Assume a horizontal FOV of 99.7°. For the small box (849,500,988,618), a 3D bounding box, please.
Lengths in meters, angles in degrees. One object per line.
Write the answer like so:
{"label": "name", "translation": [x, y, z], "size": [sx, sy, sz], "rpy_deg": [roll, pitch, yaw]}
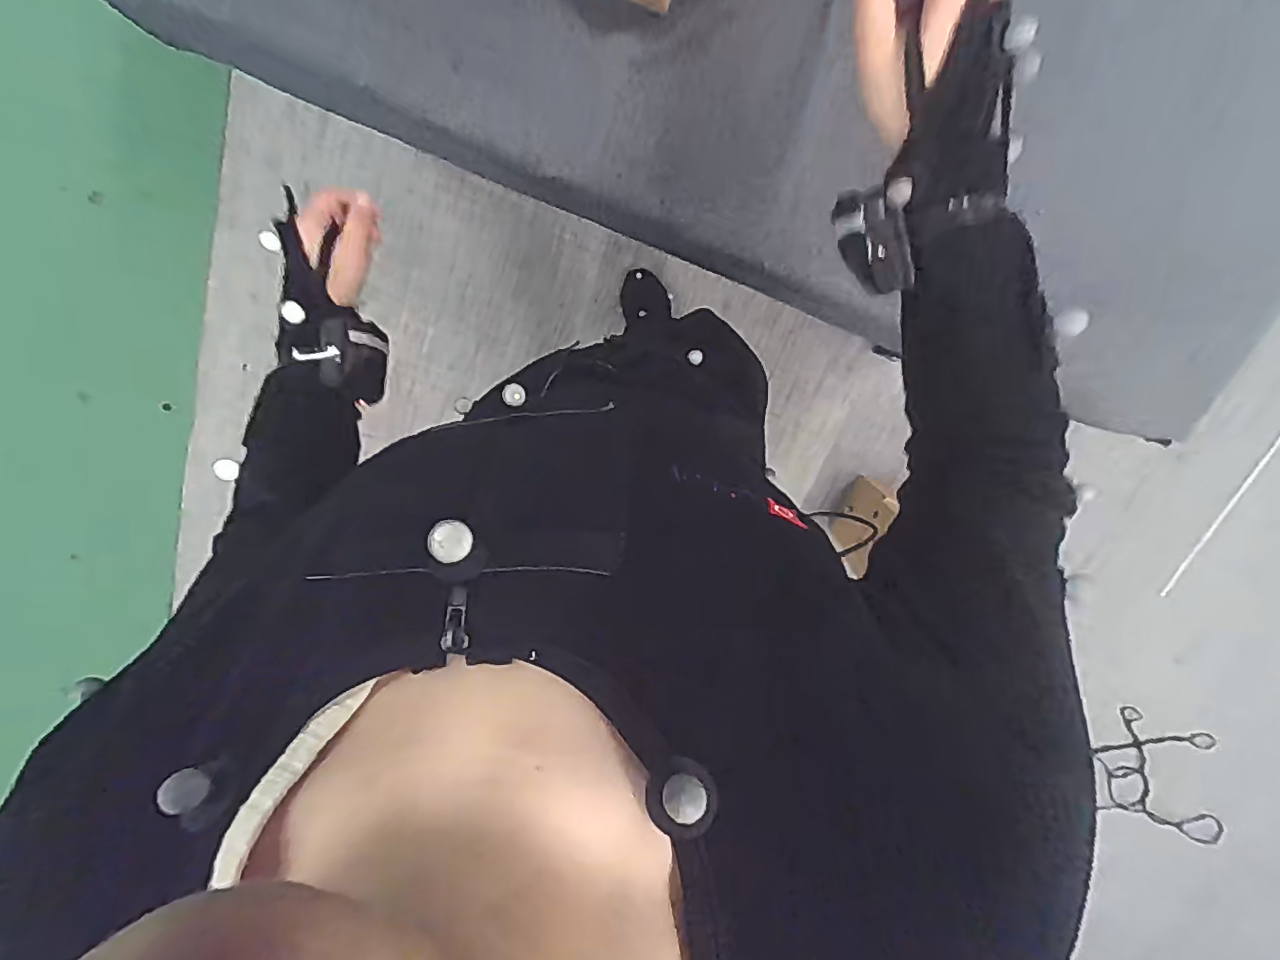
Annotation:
{"label": "small box", "translation": [0.577, 0.159, 1.152], "size": [0.179, 0.176, 0.168], "rpy_deg": [20, 108, -4]}

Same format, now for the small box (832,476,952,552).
{"label": "small box", "translation": [0.598, 0.109, 1.308], "size": [0.179, 0.176, 0.168], "rpy_deg": [22, 107, -4]}
